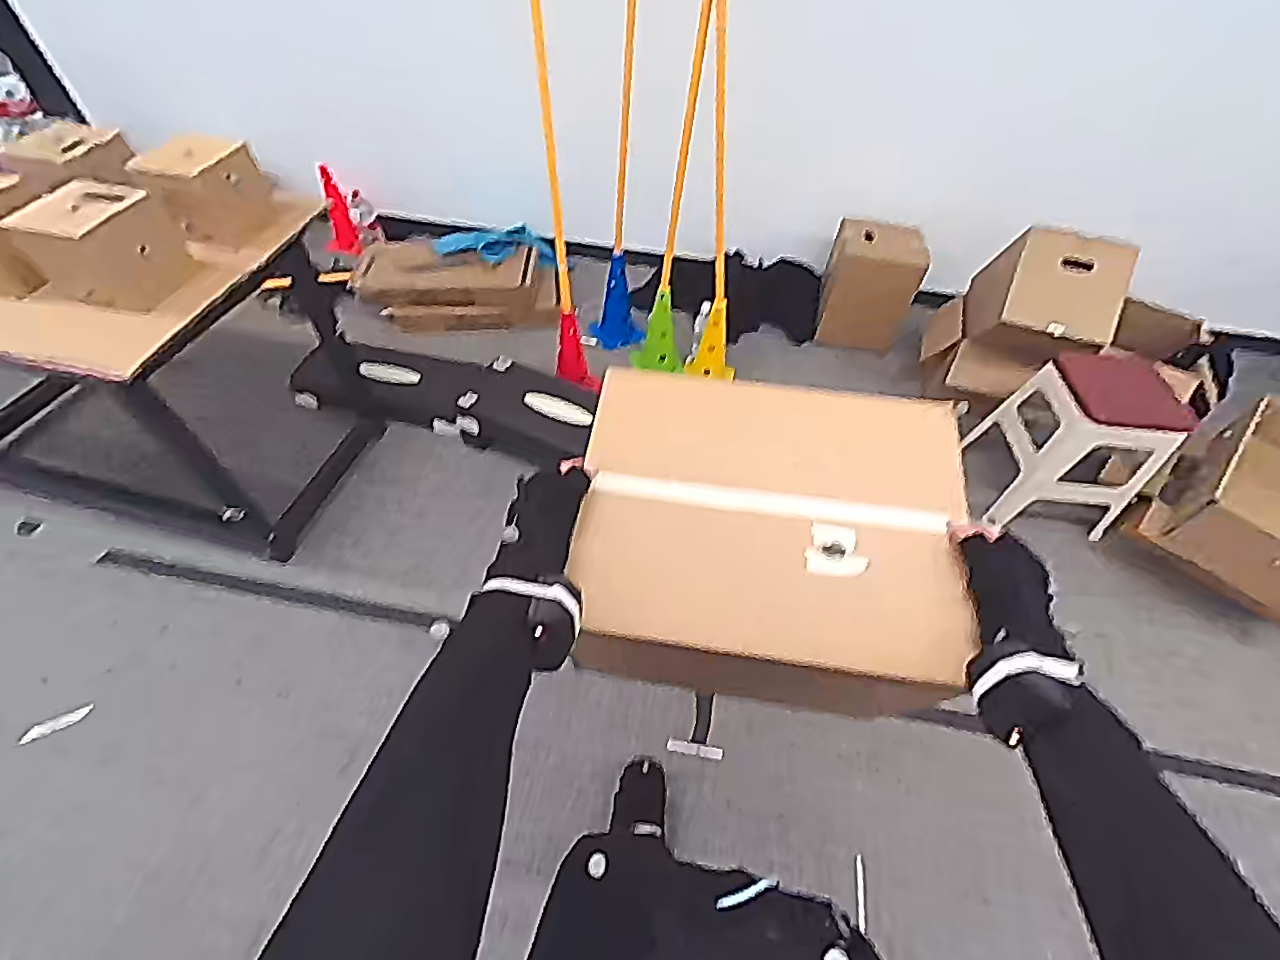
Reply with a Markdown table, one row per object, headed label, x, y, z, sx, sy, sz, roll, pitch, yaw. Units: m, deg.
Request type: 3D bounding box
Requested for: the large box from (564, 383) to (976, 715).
| label | x | y | z | sx | sy | sz | roll | pitch | yaw |
| --- | --- | --- | --- | --- | --- | --- | --- | --- | --- |
| large box | 0.143 | 0.104 | 0.719 | 0.408 | 0.320 | 0.320 | 8 | 63 | 6 |
